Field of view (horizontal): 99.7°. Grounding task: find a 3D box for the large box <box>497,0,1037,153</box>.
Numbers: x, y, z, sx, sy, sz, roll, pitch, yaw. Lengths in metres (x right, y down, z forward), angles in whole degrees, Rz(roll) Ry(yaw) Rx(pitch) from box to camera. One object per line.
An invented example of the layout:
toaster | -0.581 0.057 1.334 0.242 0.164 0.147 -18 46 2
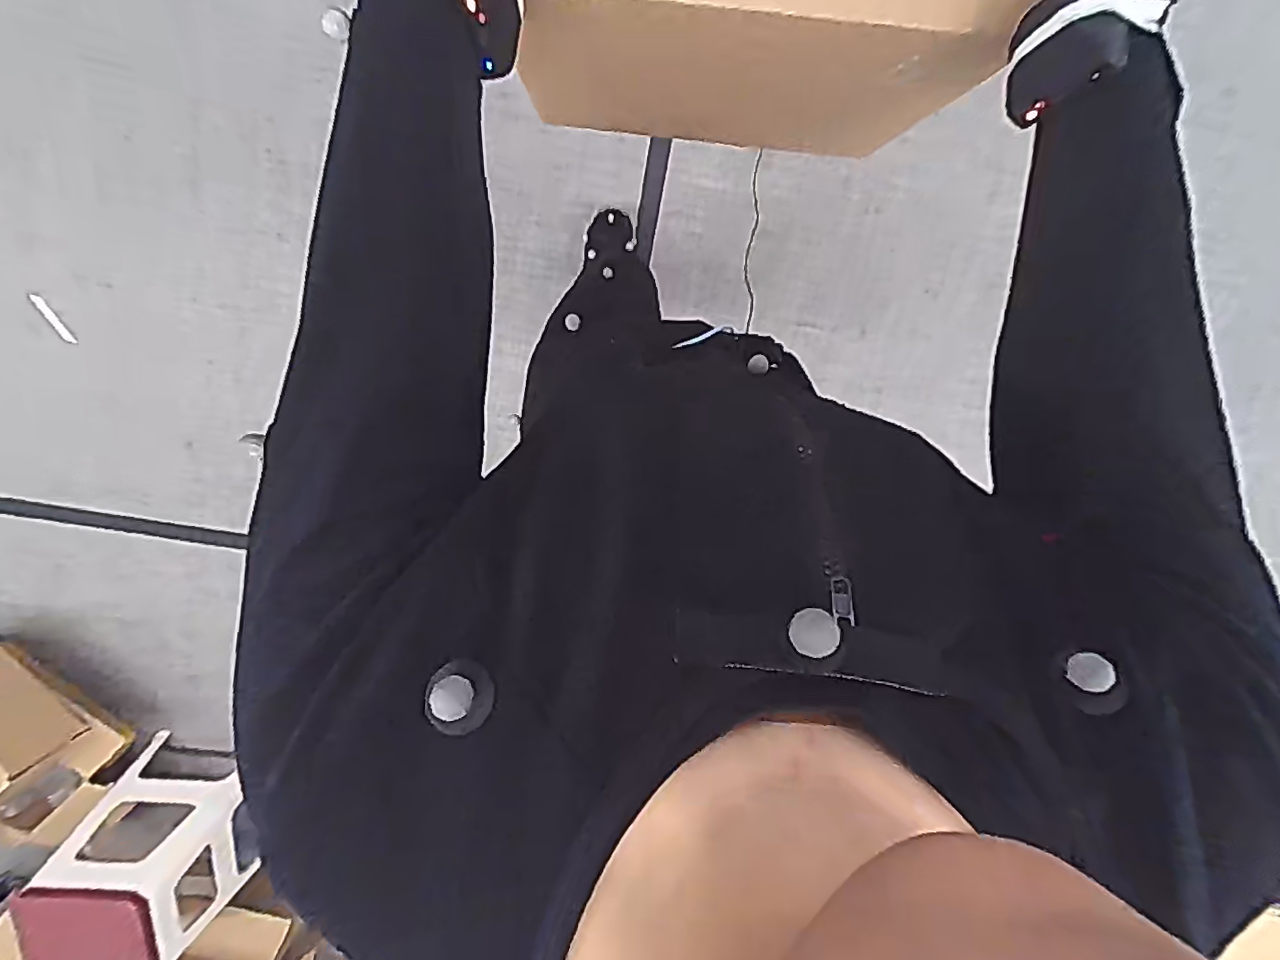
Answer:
large box | 0.092 -0.523 0.487 0.408 0.320 0.320 4 108 -3
